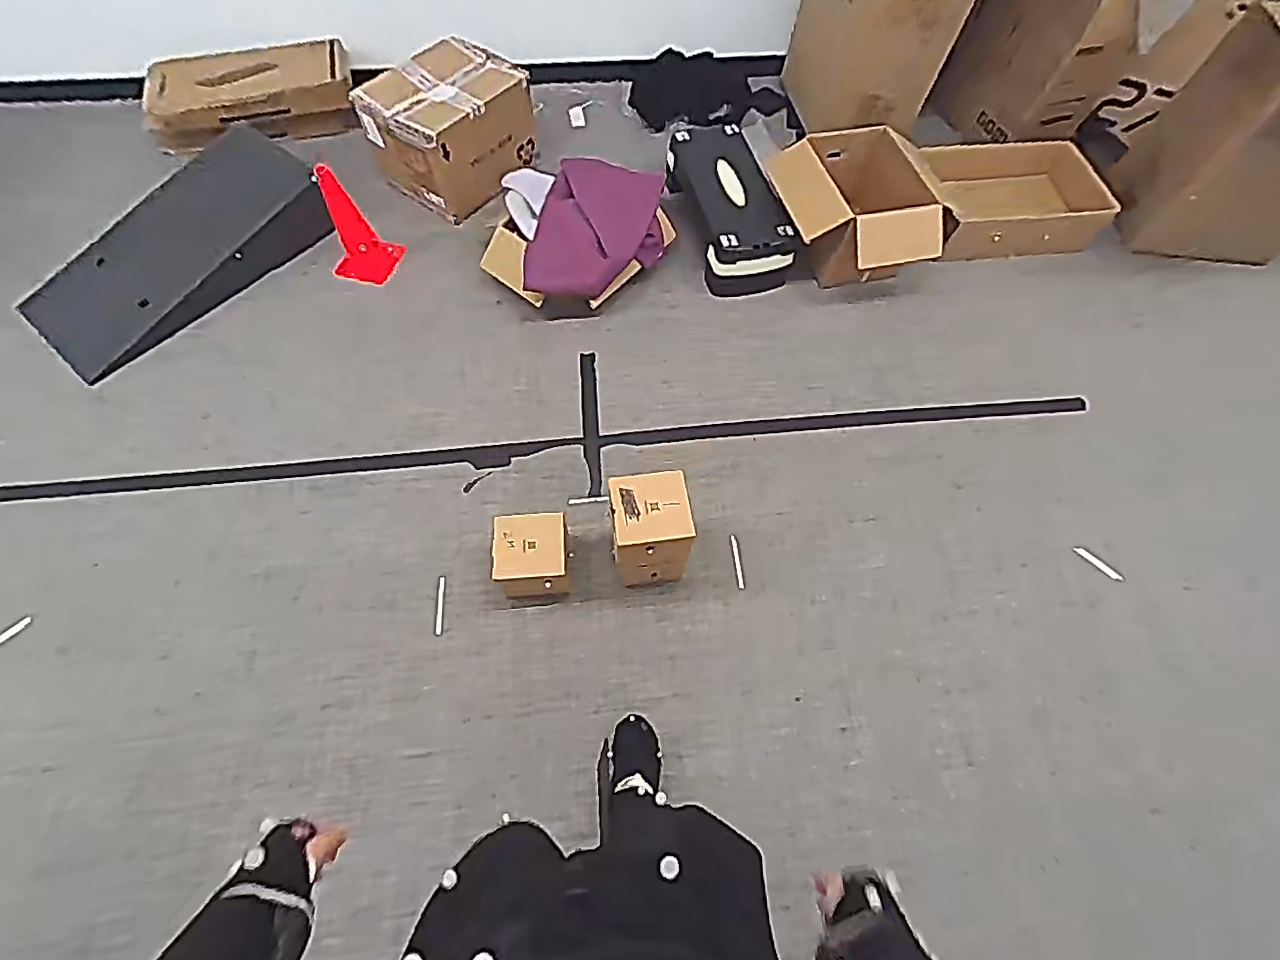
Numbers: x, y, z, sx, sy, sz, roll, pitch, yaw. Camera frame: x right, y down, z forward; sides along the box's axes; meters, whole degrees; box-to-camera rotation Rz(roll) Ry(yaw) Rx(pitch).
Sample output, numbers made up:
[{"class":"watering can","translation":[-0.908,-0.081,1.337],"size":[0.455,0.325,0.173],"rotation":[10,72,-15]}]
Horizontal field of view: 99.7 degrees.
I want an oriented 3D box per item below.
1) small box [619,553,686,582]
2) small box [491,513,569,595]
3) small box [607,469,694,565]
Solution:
[{"class":"small box","translation":[0.021,0.161,1.416],"size":[0.168,0.176,0.179],"rotation":[-7,65,-5]},{"class":"small box","translation":[-0.274,0.193,1.389],"size":[0.179,0.176,0.168],"rotation":[-4,64,-3]},{"class":"small box","translation":[0.020,0.093,1.265],"size":[0.179,0.176,0.168],"rotation":[-6,65,-6]}]
